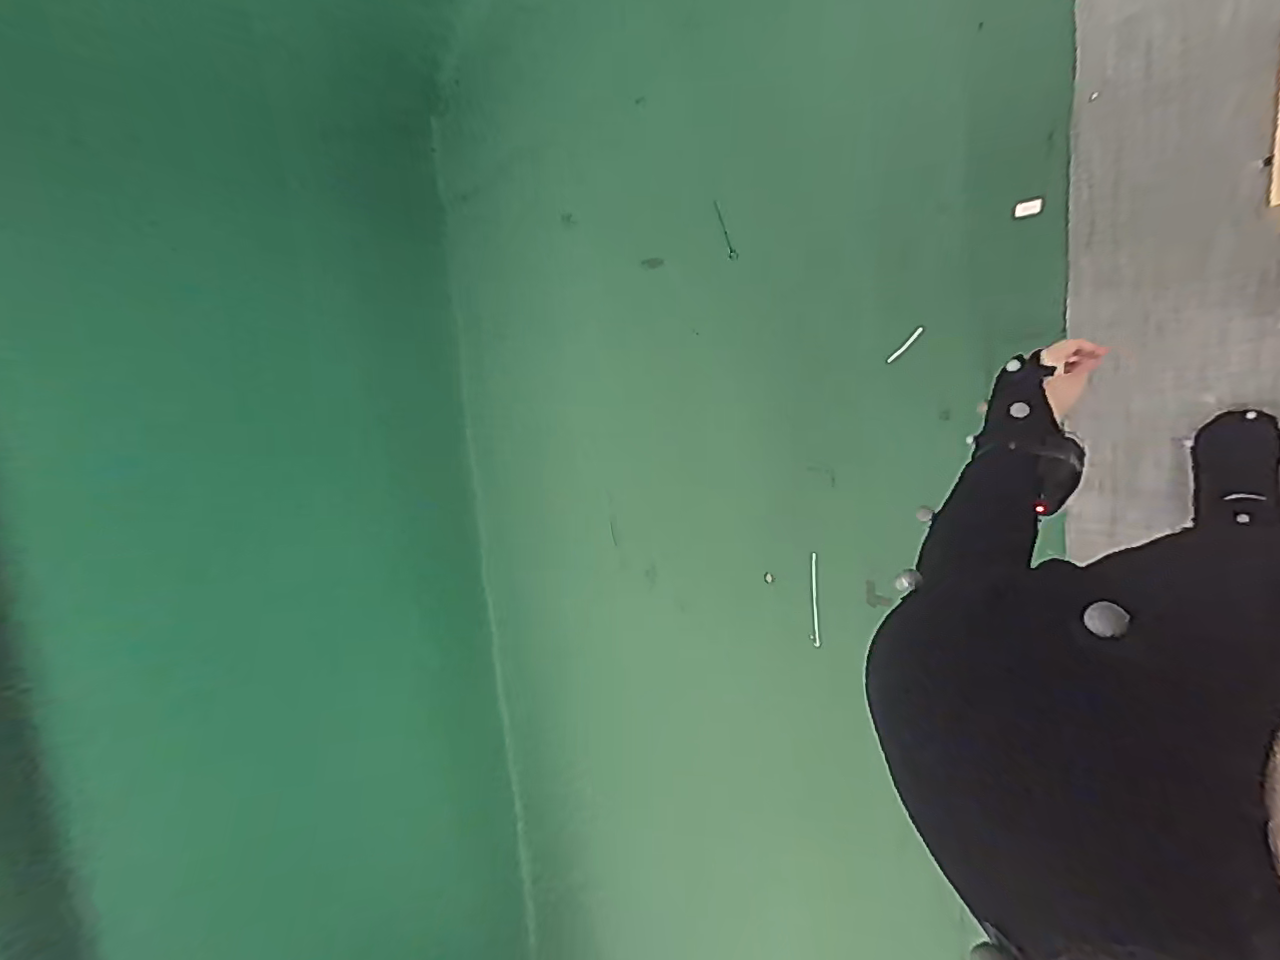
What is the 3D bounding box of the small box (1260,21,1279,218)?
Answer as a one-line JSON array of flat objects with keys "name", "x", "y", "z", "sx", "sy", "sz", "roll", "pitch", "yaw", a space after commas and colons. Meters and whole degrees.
[{"name": "small box", "x": 0.653, "y": -0.335, "z": 0.453, "sx": 0.168, "sy": 0.176, "sz": 0.179, "roll": 5, "pitch": 102, "yaw": 47}]
